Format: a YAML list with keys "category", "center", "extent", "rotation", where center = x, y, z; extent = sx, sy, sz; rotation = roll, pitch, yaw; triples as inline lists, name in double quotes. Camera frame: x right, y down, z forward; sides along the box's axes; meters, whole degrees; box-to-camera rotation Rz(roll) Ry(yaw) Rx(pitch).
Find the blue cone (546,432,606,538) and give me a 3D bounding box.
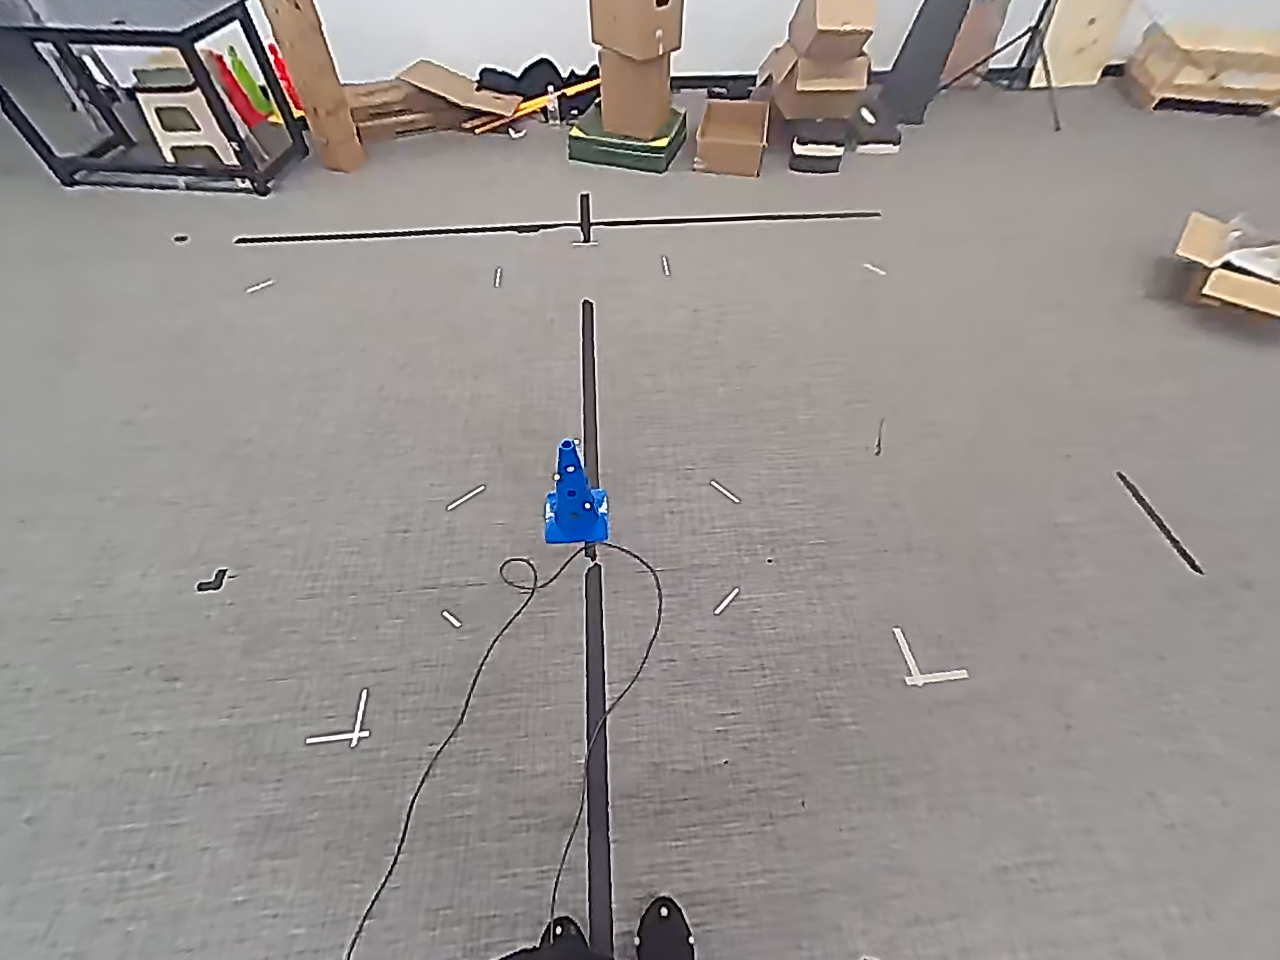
- category: "blue cone"
  center: [-0.205, 0.002, 1.593]
  extent: [0.193, 0.380, 0.192]
  rotation: [-4, 54, -3]
